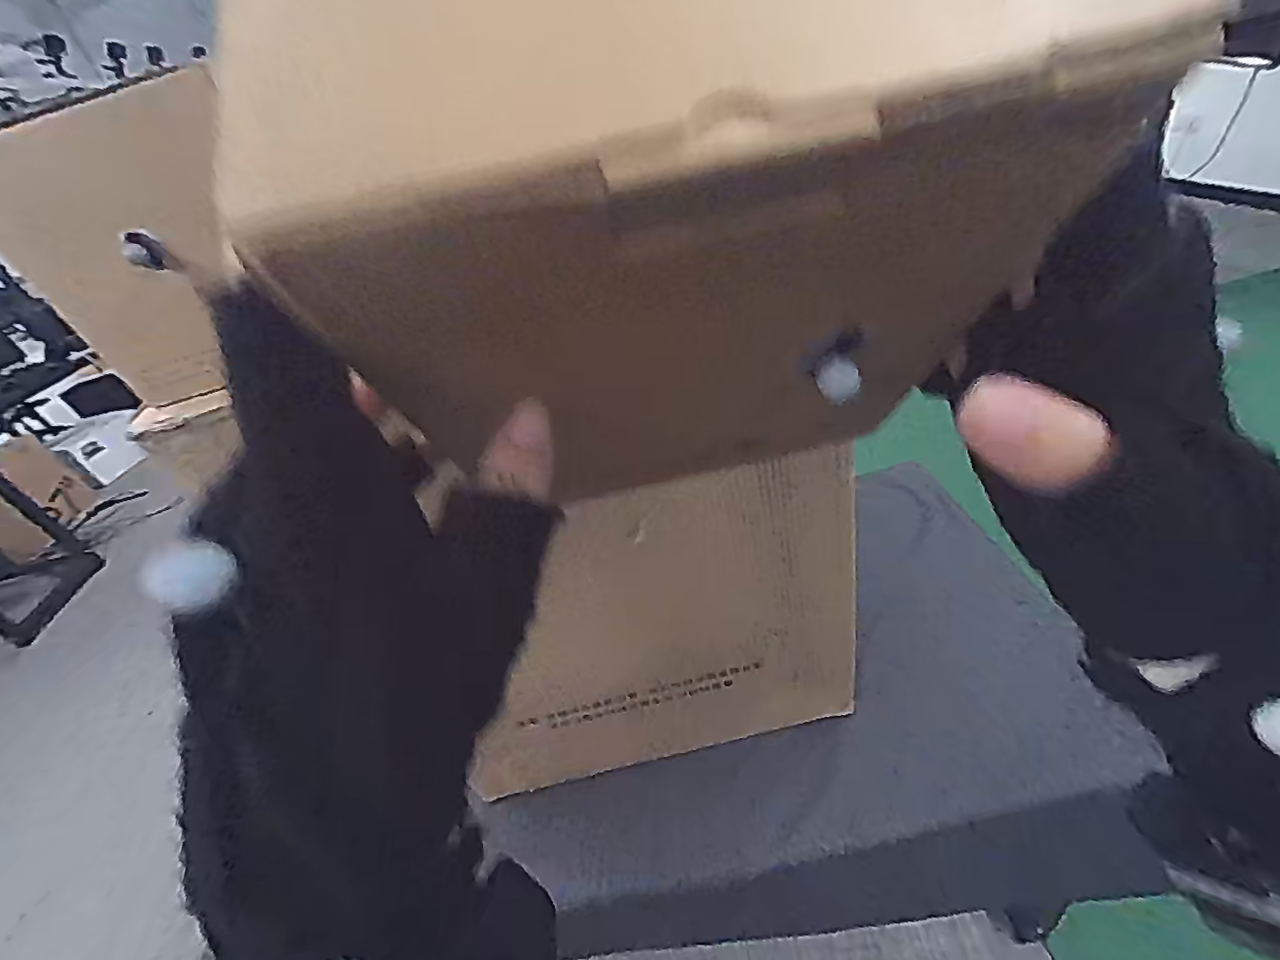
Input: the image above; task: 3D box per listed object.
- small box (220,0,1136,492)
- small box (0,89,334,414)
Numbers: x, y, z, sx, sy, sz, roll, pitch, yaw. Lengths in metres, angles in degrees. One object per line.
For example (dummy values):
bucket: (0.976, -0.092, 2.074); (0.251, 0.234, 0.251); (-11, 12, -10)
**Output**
small box: (-0.004, -0.105, 0.196); (0.168, 0.176, 0.179); (-13, 71, -1)
small box: (-0.296, -0.175, 0.404); (0.179, 0.176, 0.168); (-16, 39, 0)
